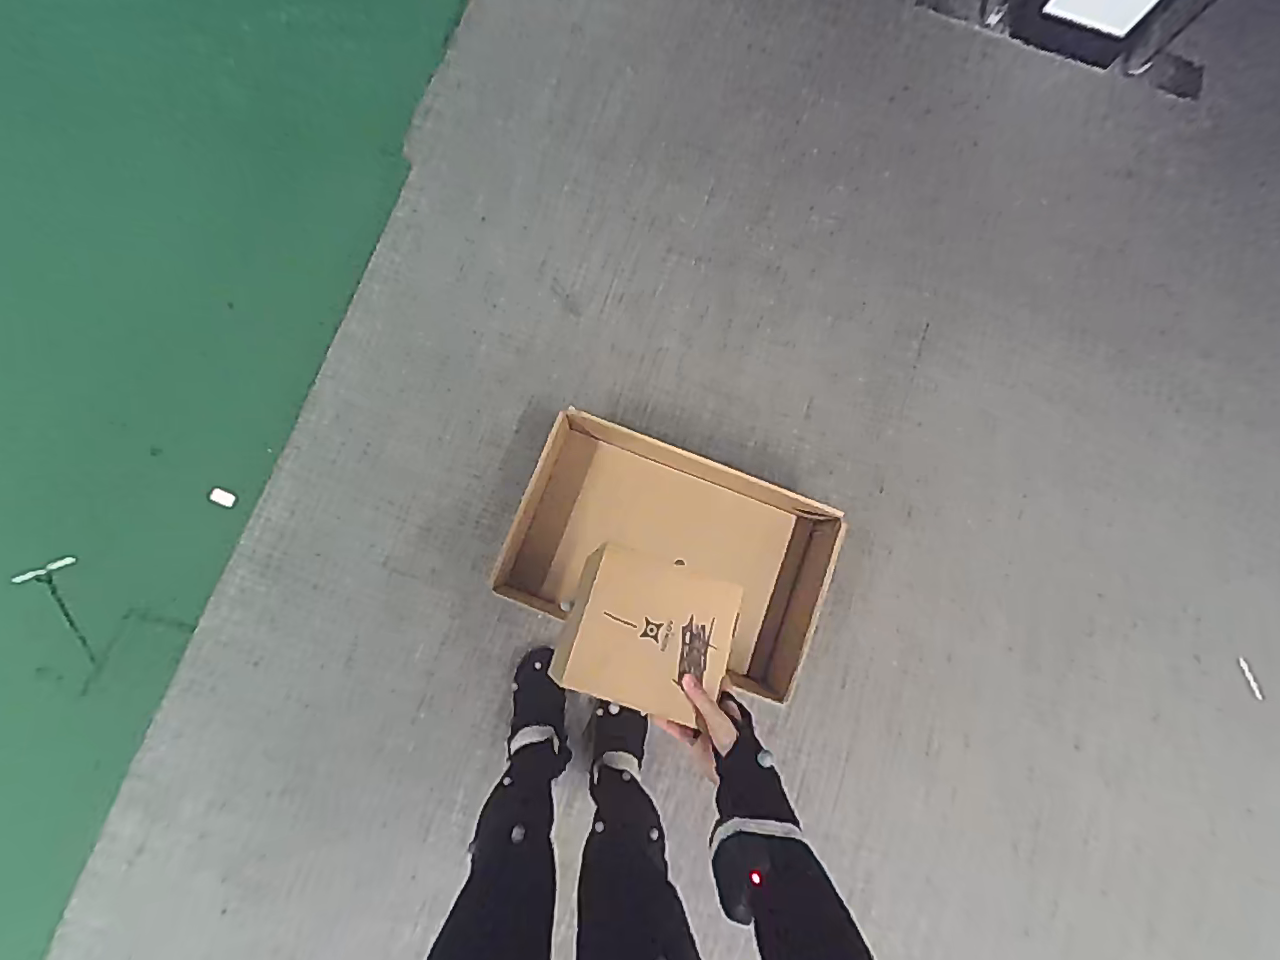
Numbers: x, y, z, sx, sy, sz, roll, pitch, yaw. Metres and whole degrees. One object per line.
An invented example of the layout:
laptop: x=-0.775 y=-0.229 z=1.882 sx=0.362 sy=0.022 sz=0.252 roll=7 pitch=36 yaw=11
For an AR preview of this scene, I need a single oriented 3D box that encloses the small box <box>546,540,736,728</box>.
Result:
small box: x=-0.007 y=0.190 z=0.681 sx=0.179 sy=0.176 sz=0.168 roll=21 pitch=70 yaw=-7
